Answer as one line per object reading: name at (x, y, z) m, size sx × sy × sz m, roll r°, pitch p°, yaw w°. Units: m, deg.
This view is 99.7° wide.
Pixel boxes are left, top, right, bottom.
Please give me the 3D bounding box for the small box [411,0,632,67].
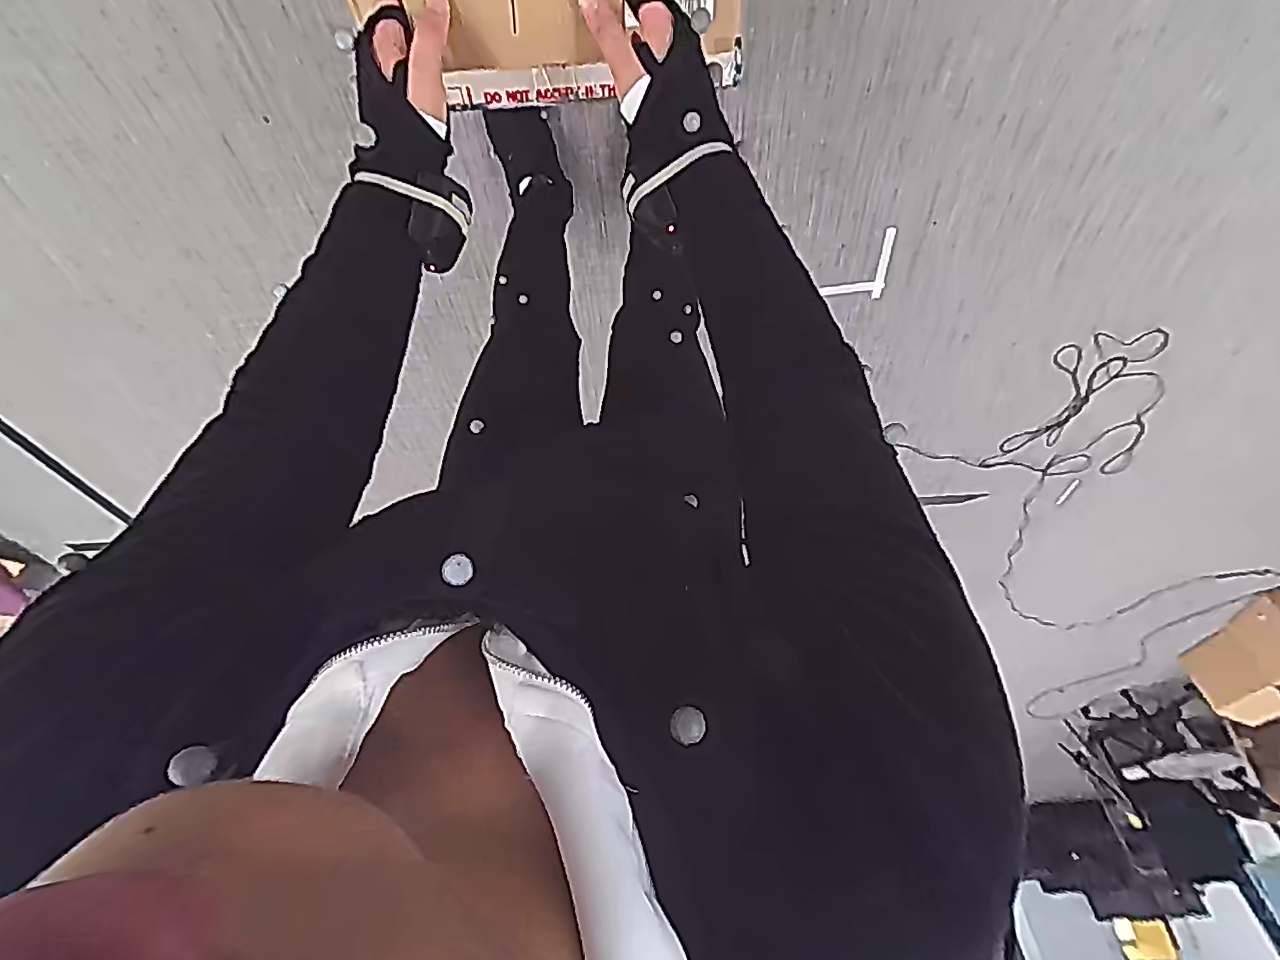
small box at (-0.094, -0.452, 0.418) m, size 0.168 × 0.176 × 0.179 m, roll -2°, pitch 142°, yaw 1°
